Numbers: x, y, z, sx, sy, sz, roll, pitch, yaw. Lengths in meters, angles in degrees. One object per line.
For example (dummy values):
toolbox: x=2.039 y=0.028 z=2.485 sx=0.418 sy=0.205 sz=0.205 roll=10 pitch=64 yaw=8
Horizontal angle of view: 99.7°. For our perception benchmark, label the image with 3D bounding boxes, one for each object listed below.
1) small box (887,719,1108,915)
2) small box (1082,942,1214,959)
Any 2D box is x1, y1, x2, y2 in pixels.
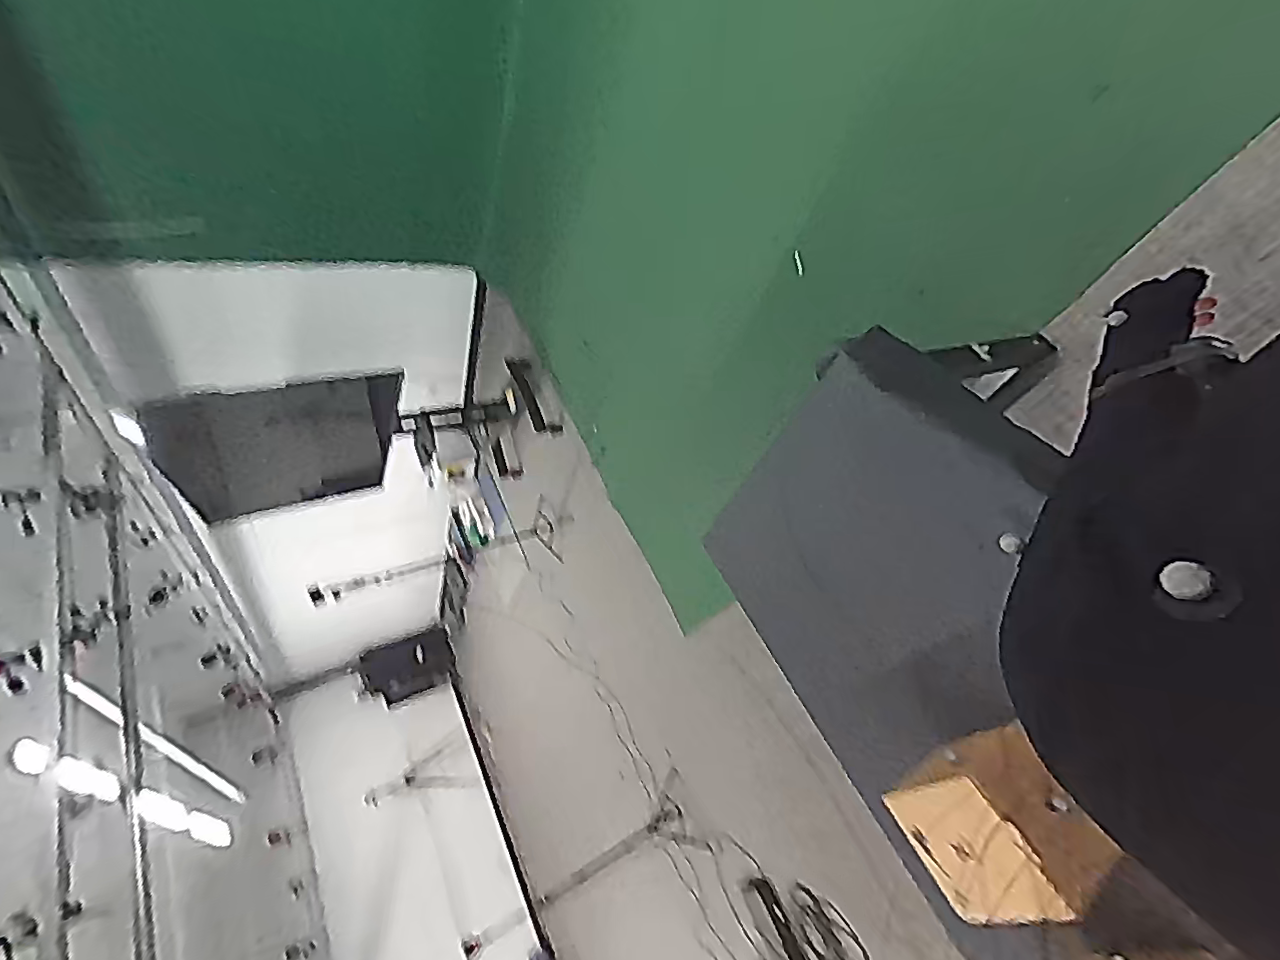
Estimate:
small box: x=0.497 y=0.462 z=0.753 sx=0.168 sy=0.176 sz=0.179 roll=59 pitch=144 yaw=26
small box: x=0.633 y=0.689 z=0.627 sx=0.179 sy=0.176 sz=0.168 roll=58 pitch=144 yaw=28
